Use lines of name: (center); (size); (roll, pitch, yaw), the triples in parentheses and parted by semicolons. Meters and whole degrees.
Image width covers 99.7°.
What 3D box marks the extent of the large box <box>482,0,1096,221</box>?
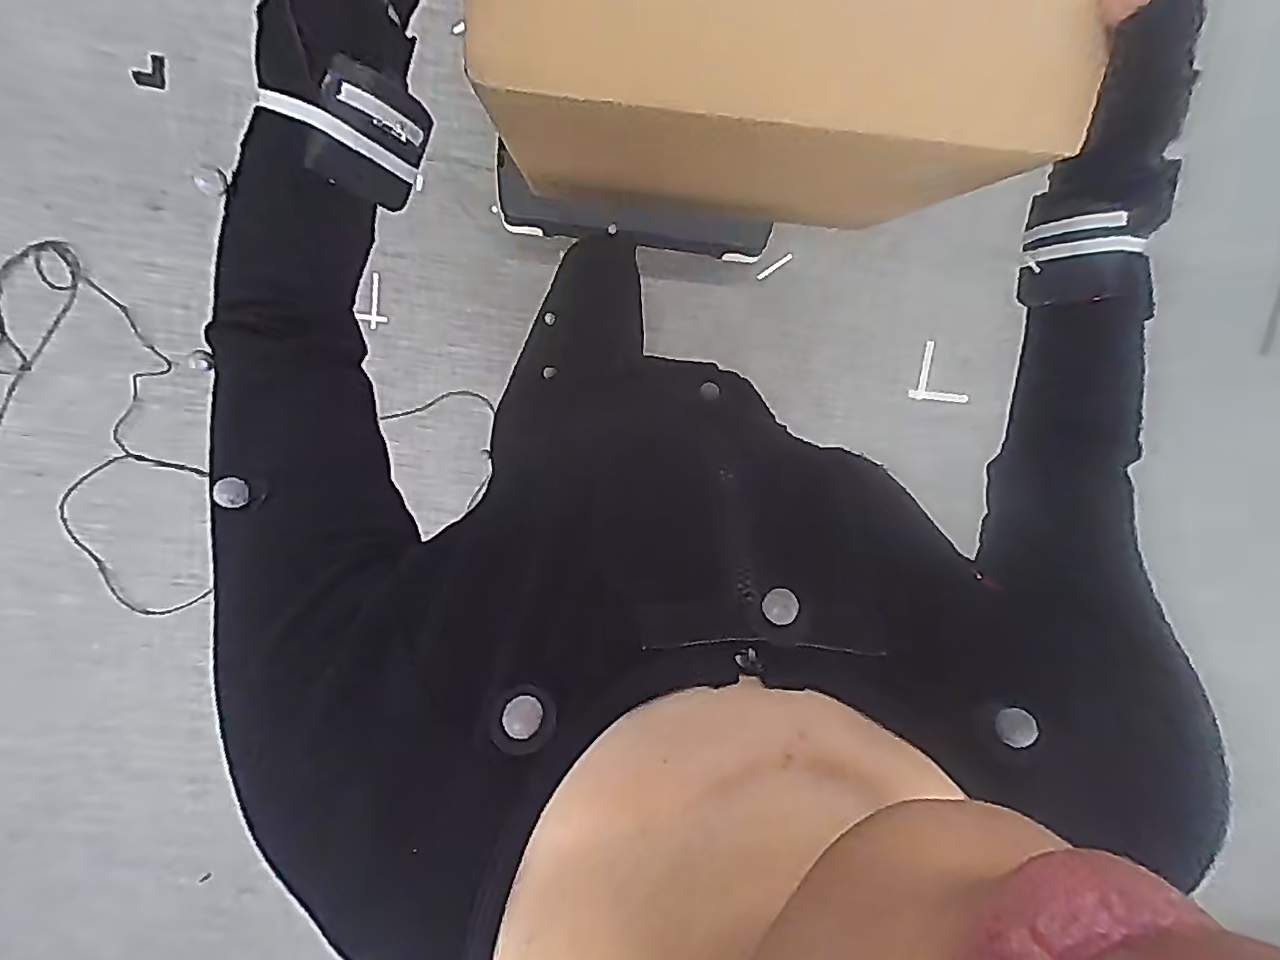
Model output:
large box: (0.094, -0.431, 0.462); (0.408, 0.320, 0.320); (3, 106, -6)
